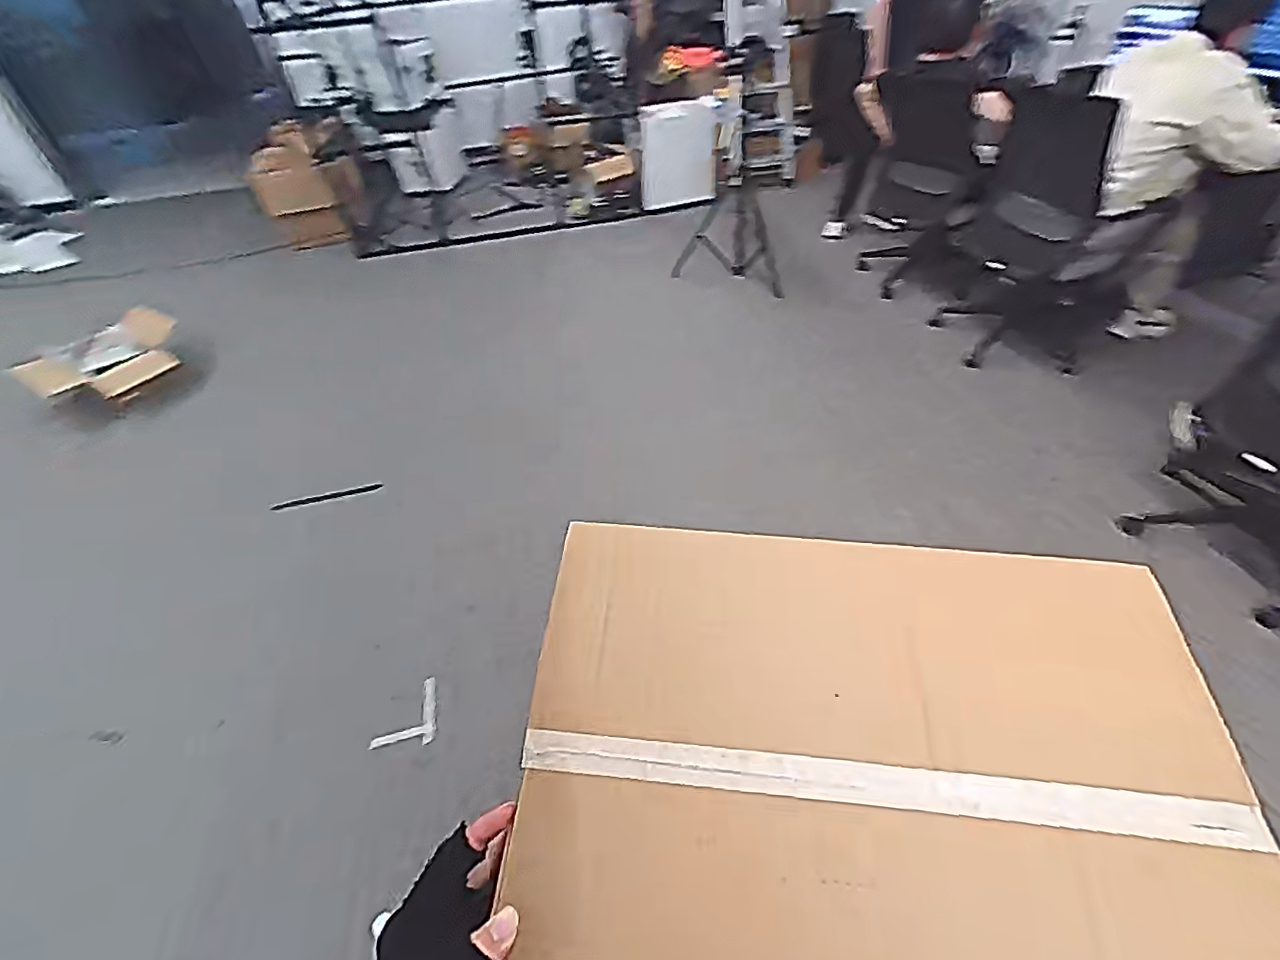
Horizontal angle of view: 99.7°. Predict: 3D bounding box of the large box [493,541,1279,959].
[{"bbox_3d":[0.130,0.263,0.444,0.408,0.320,0.320,3,57,4],"label":"large box"}]
